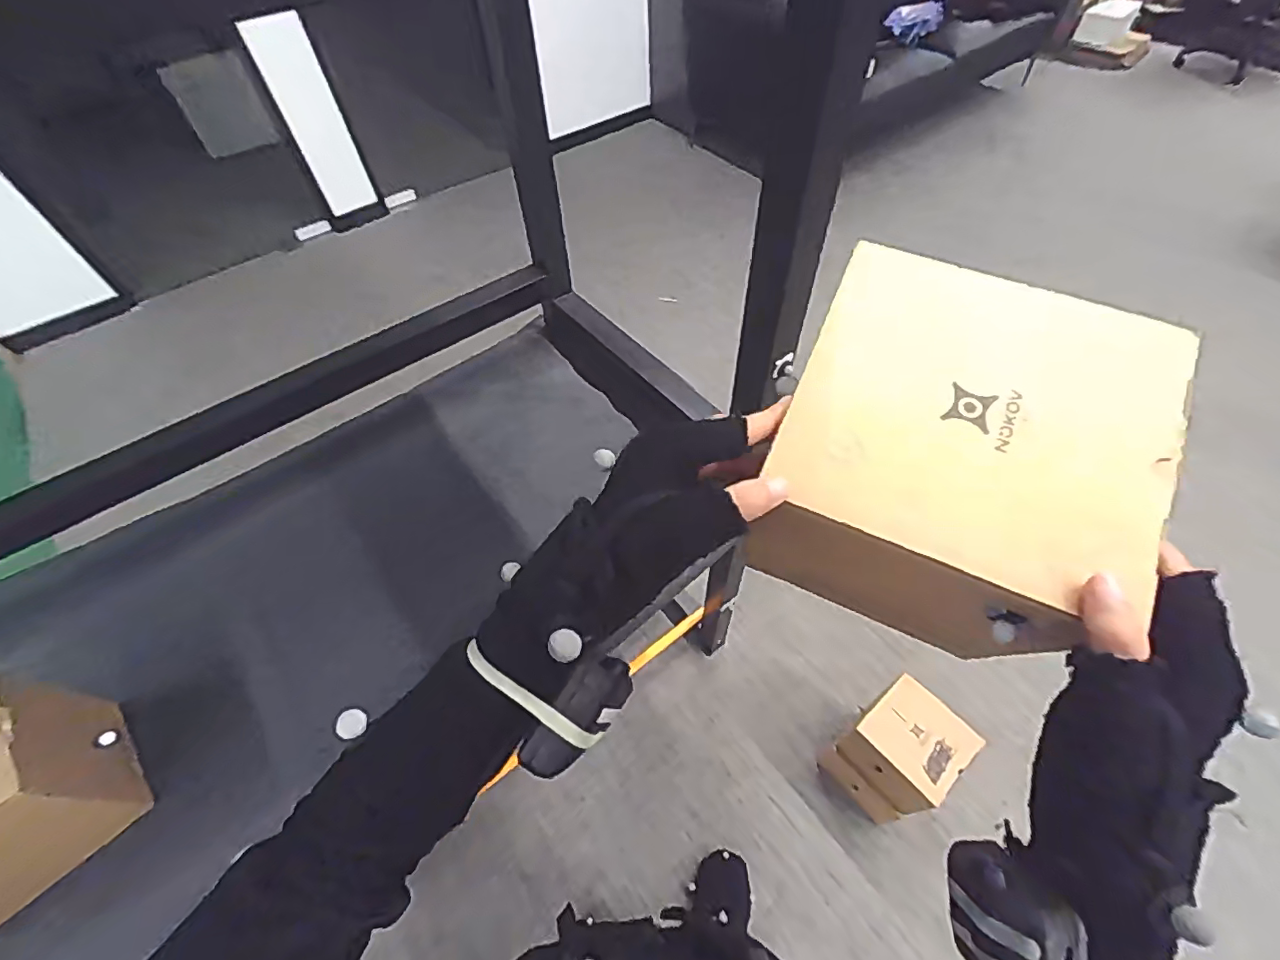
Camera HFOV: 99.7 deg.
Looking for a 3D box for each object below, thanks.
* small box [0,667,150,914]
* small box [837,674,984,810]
[{"bbox_3d":[-0.699,0.342,0.581,0.179,0.176,0.168,-39,62,-22],"label":"small box"},{"bbox_3d":[0.527,0.528,1.080,0.168,0.176,0.179,-35,59,-20],"label":"small box"}]
